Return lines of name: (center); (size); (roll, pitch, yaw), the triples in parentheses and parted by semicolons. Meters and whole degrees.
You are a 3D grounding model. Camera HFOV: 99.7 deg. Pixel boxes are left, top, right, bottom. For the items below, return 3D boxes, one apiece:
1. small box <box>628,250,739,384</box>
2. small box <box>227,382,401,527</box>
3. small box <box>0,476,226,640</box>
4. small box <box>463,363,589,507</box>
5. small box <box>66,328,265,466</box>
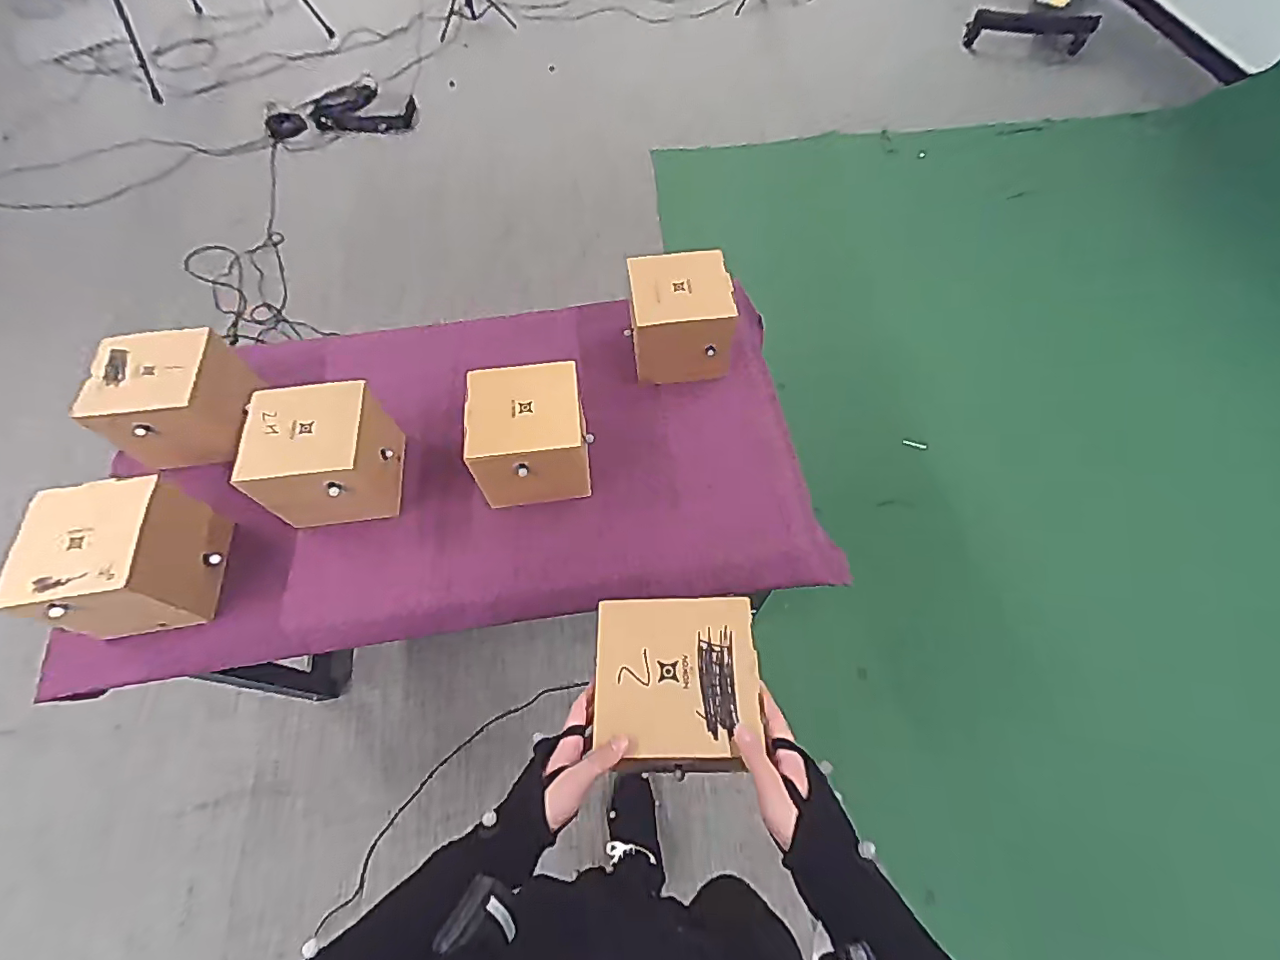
small box: (0.072, -0.296, 1.002); (0.179, 0.176, 0.168); (-6, 64, -1)
small box: (-0.506, -0.036, 0.874); (0.179, 0.176, 0.168); (-6, 62, -3)
small box: (-0.756, 0.118, 0.794); (0.168, 0.176, 0.179); (-9, 61, -4)
small box: (-0.178, -0.069, 0.890); (0.179, 0.176, 0.168); (-7, 63, -2)
small box: (-0.794, -0.136, 0.930); (0.179, 0.176, 0.168); (-7, 63, -4)
